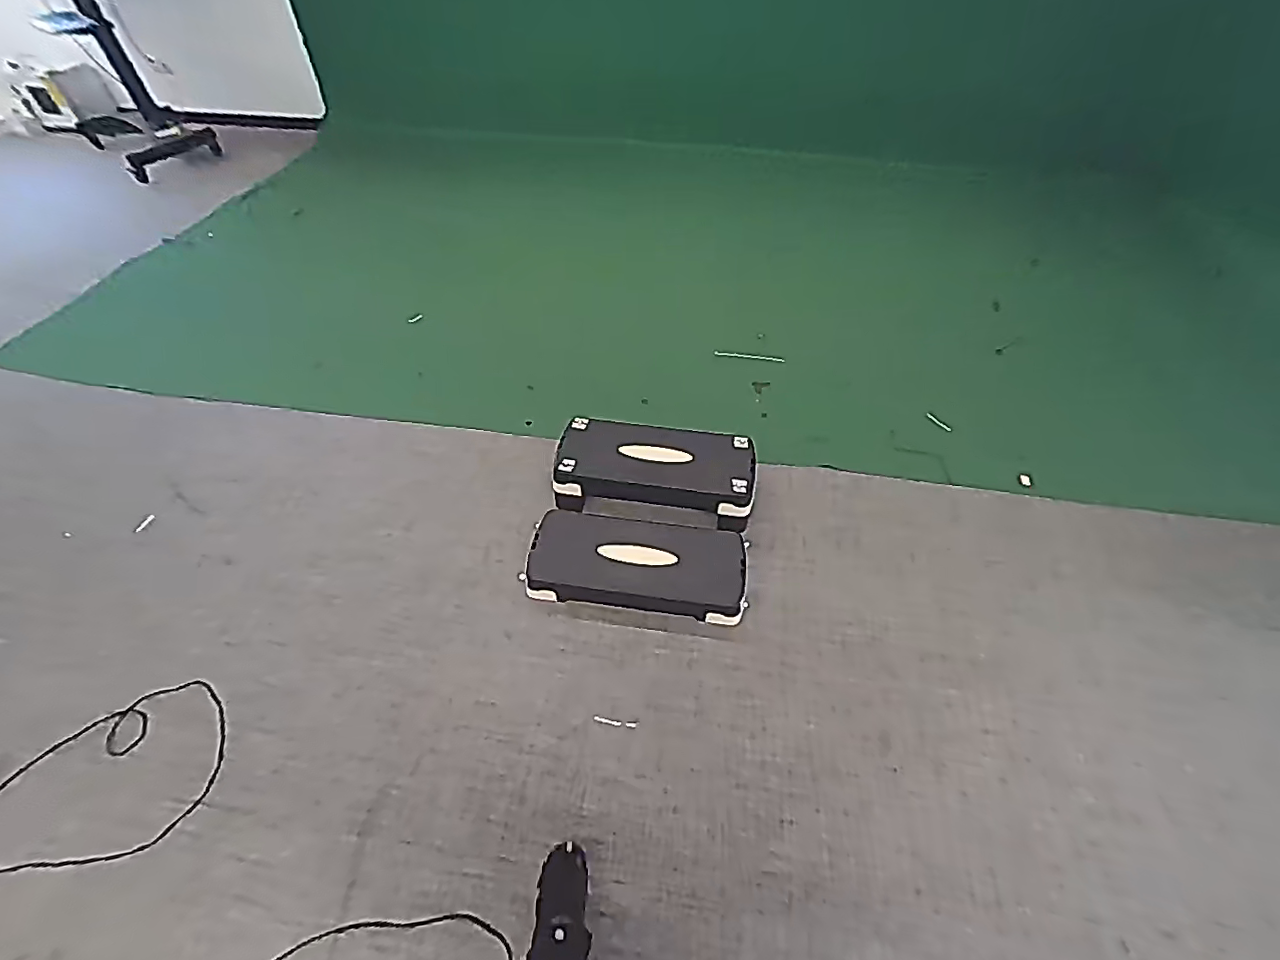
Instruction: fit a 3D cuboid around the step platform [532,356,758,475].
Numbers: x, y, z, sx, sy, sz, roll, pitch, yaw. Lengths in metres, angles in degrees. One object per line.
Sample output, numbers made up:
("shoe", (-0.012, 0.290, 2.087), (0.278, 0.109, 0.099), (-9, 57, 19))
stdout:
("step platform", (0.017, -0.205, 1.722), (0.684, 0.204, 0.286), (6, 51, 5))
